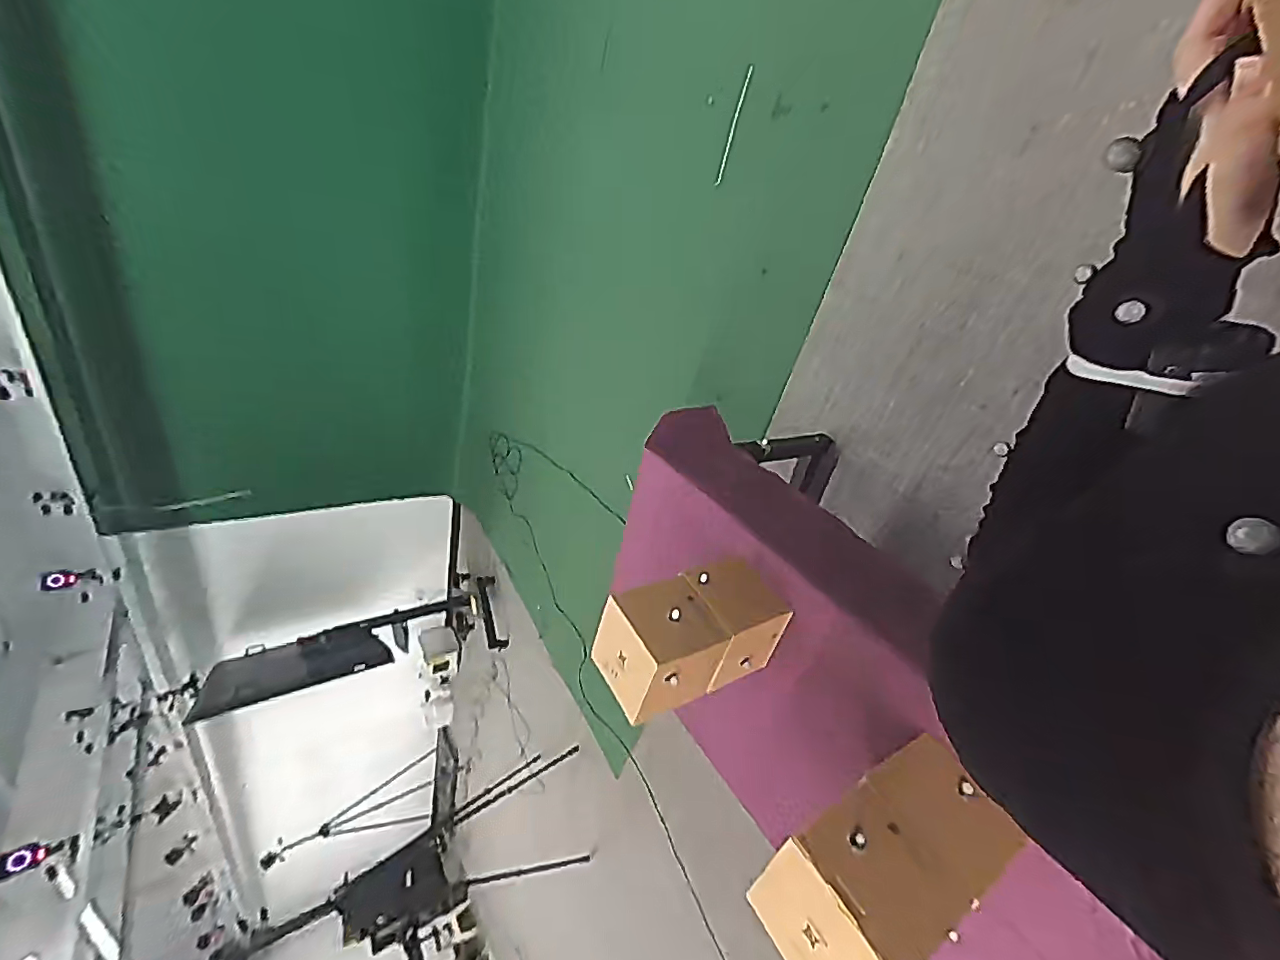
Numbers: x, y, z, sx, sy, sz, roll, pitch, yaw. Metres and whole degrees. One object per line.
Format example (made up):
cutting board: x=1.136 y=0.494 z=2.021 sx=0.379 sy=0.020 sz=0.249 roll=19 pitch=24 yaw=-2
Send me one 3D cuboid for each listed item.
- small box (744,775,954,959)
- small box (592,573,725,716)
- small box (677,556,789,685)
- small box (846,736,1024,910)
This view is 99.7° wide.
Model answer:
small box: x=0.275 y=0.533 z=0.715 sx=0.168 sy=0.176 sz=0.179 roll=48 pitch=134 yaw=40
small box: x=0.035 y=0.300 z=1.017 sx=0.168 sy=0.176 sz=0.179 roll=49 pitch=135 yaw=39
small box: x=0.171 y=0.276 z=1.106 sx=0.179 sy=0.176 sz=0.168 roll=47 pitch=133 yaw=41
small box: x=0.411 y=0.511 z=0.803 sx=0.179 sy=0.176 sz=0.168 roll=46 pitch=133 yaw=42
